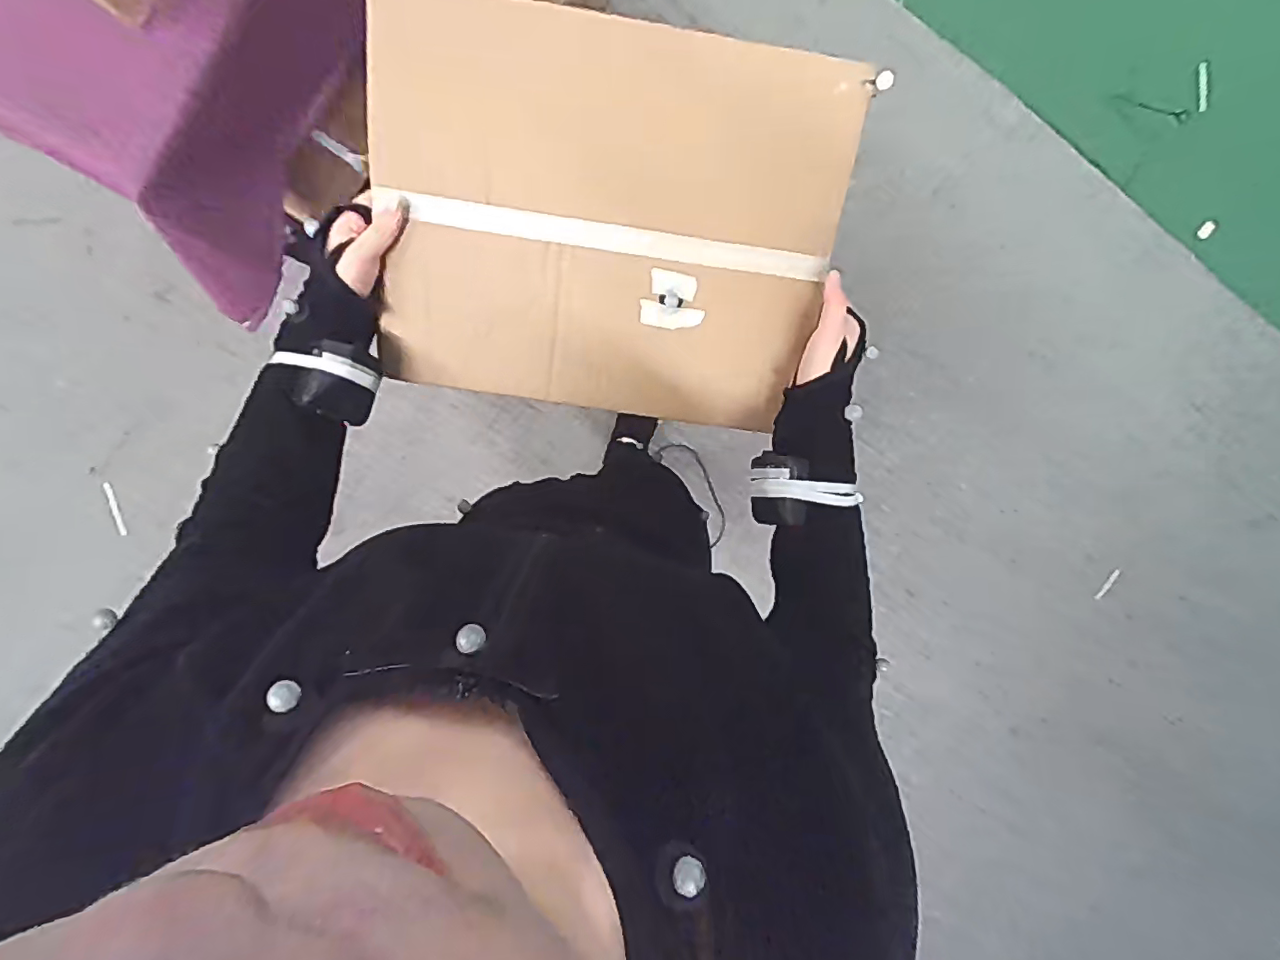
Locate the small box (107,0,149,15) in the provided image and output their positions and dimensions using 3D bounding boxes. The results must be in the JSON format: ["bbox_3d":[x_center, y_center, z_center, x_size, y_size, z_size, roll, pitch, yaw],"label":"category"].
[{"bbox_3d":[-0.606,-0.645,0.547,0.168,0.176,0.179,34,94,-8],"label":"small box"}]

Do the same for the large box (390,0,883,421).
[{"bbox_3d":[-0.022,-0.277,0.617,0.408,0.320,0.320,8,112,-4],"label":"large box"}]
